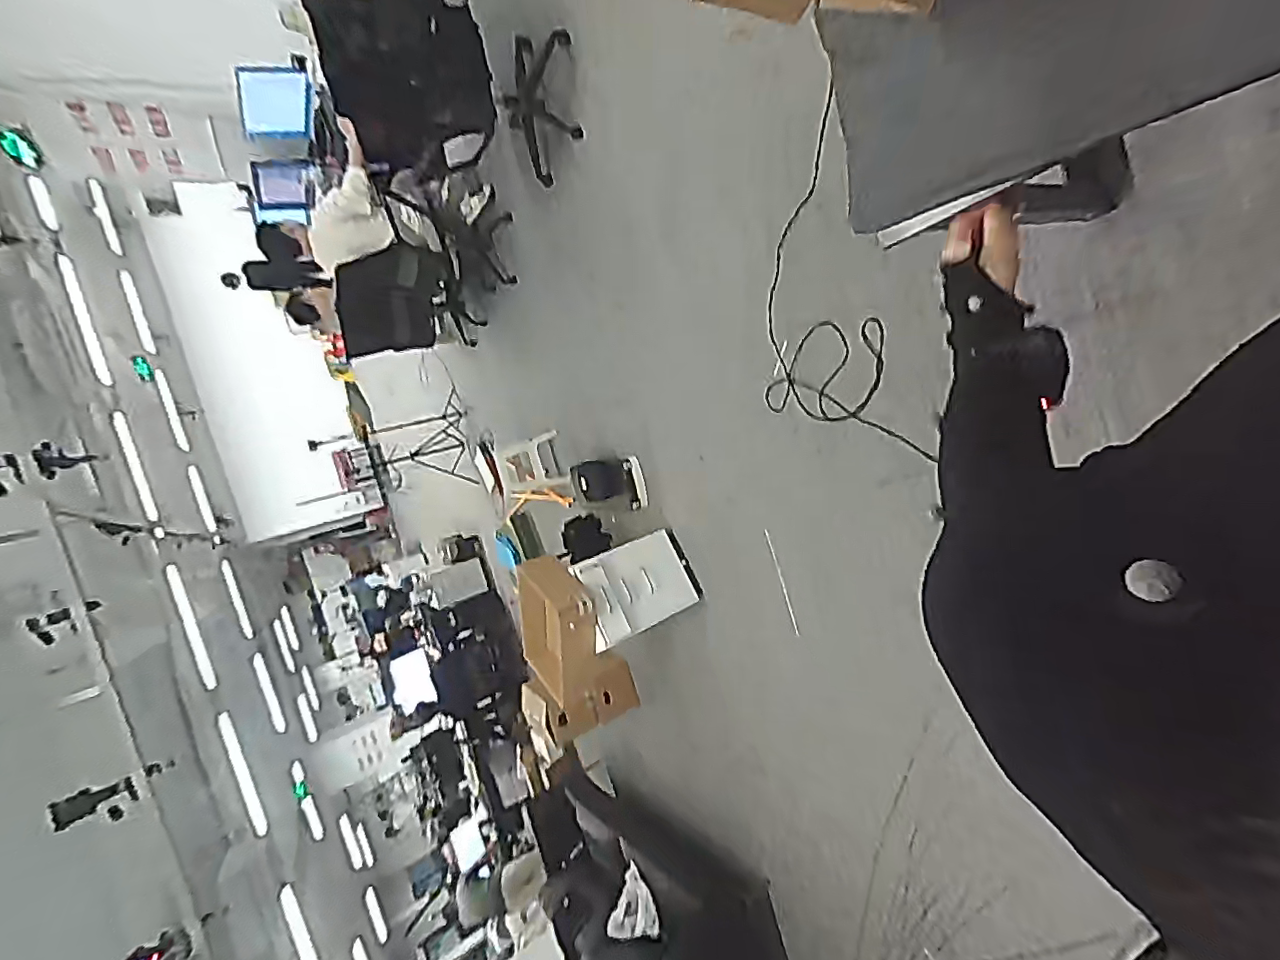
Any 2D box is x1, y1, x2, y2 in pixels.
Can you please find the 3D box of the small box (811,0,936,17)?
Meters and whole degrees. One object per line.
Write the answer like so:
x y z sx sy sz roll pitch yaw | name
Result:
0.255 -0.659 0.626 0.179 0.176 0.168 44 139 37 | small box
